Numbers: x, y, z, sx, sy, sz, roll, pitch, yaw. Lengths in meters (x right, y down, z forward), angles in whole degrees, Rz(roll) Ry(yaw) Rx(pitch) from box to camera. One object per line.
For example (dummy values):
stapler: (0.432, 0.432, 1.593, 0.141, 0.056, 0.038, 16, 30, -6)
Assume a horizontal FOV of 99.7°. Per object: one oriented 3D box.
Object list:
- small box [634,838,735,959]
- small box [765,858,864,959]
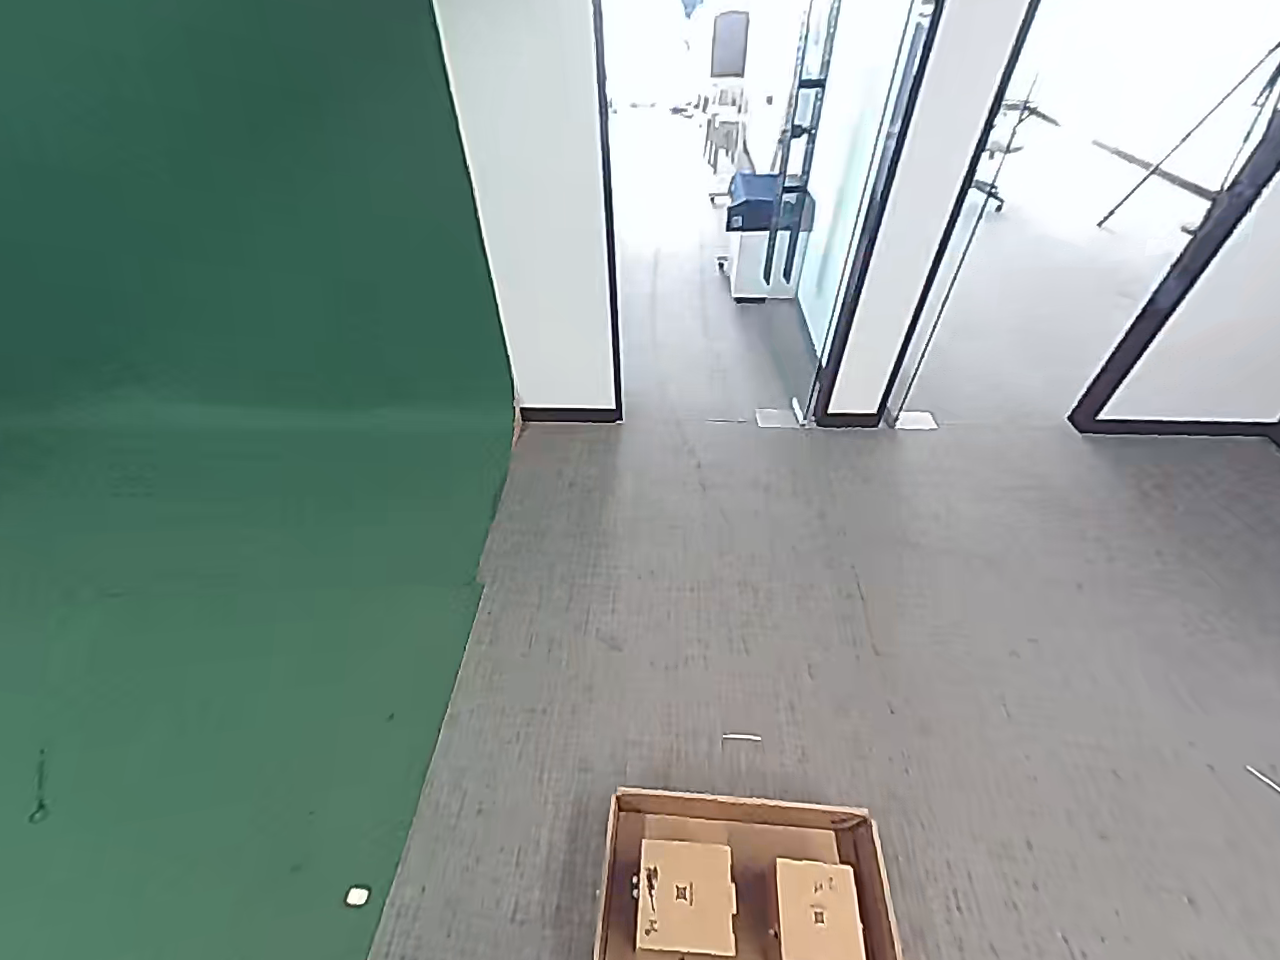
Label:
small box: (0.083, 0.818, 1.050, 0.179, 0.176, 0.168, 4, 44, 3)
small box: (0.364, 0.938, 1.157, 0.168, 0.176, 0.179, 4, 45, 5)
